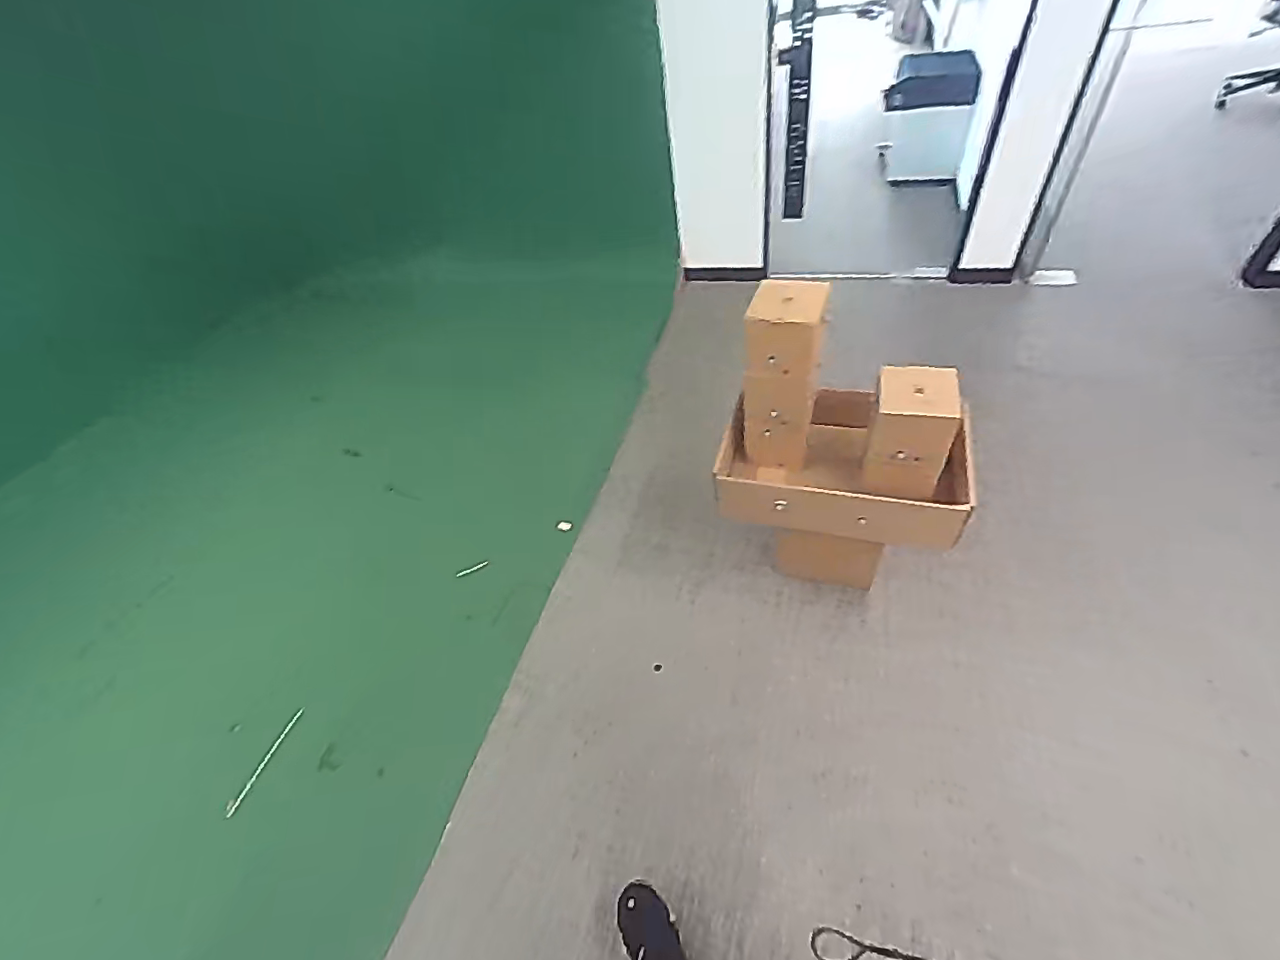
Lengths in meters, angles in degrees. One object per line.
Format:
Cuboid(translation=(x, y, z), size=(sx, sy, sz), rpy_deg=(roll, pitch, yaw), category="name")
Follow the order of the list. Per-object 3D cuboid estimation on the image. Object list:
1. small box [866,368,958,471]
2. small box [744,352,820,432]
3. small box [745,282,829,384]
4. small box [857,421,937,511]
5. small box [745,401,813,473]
Cuboid(translation=(0.648, -0.148, 1.304), size=(0.168, 0.176, 0.179), rpy_deg=(7, 50, 17), category="small box")
Cuboid(translation=(0.380, -0.257, 1.457), size=(0.168, 0.176, 0.179), rpy_deg=(11, 51, 21), category="small box")
Cuboid(translation=(0.360, -0.365, 1.338), size=(0.168, 0.176, 0.179), rpy_deg=(12, 53, 21), category="small box")
Cuboid(translation=(0.673, -0.040, 1.424), size=(0.168, 0.176, 0.179), rpy_deg=(8, 49, 17), category="small box")
Cuboid(translation=(0.402, -0.148, 1.578), size=(0.168, 0.176, 0.179), rpy_deg=(10, 51, 19), category="small box")
